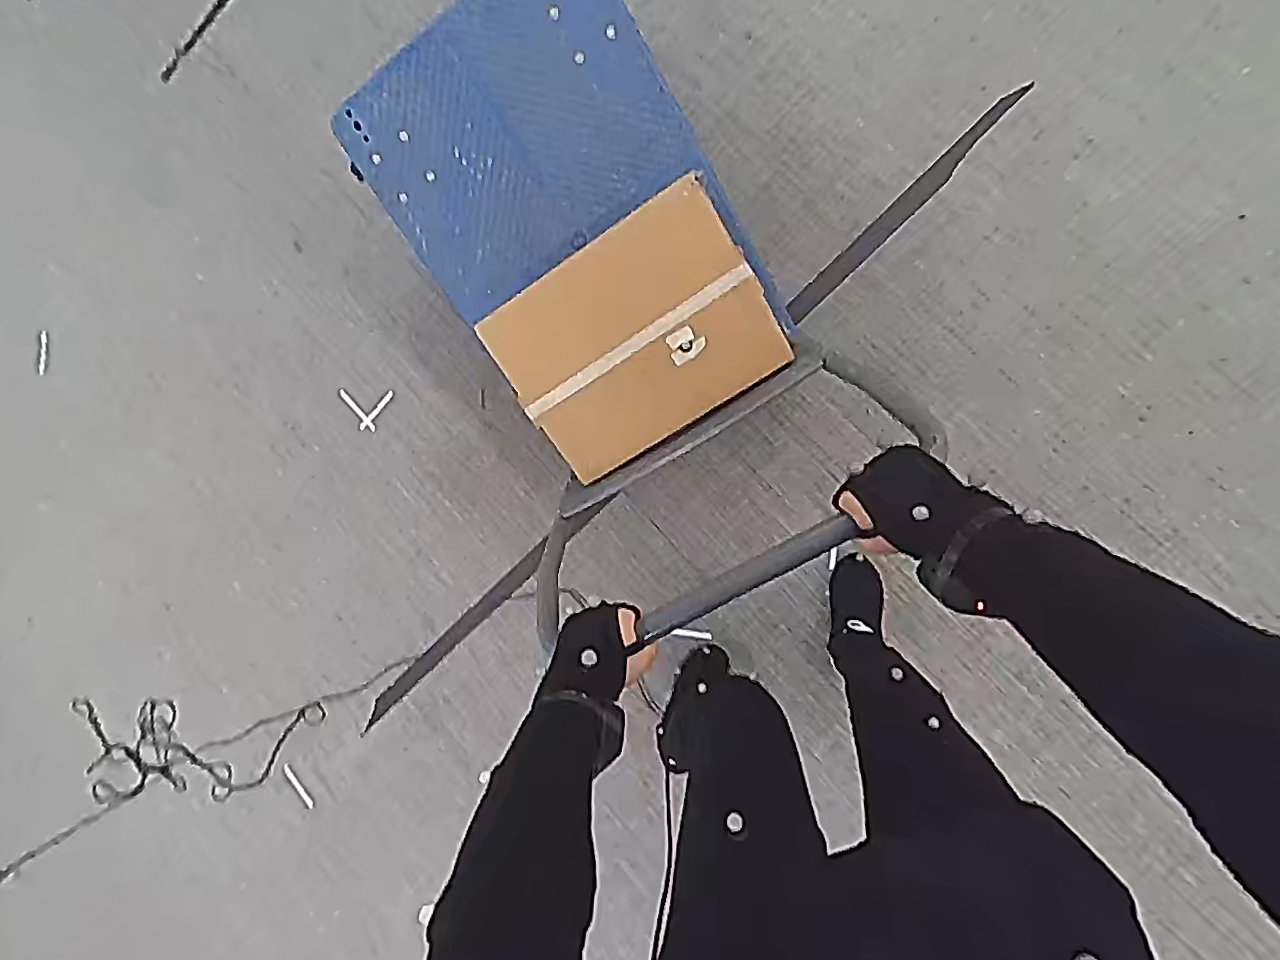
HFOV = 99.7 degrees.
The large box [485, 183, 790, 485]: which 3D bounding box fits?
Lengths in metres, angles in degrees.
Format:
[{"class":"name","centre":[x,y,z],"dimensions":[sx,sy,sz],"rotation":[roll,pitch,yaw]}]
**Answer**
[{"class":"large box","centre":[-0.003,-0.256,1.005],"dimensions":[0.408,0.320,0.320],"rotation":[-32,105,10]}]
